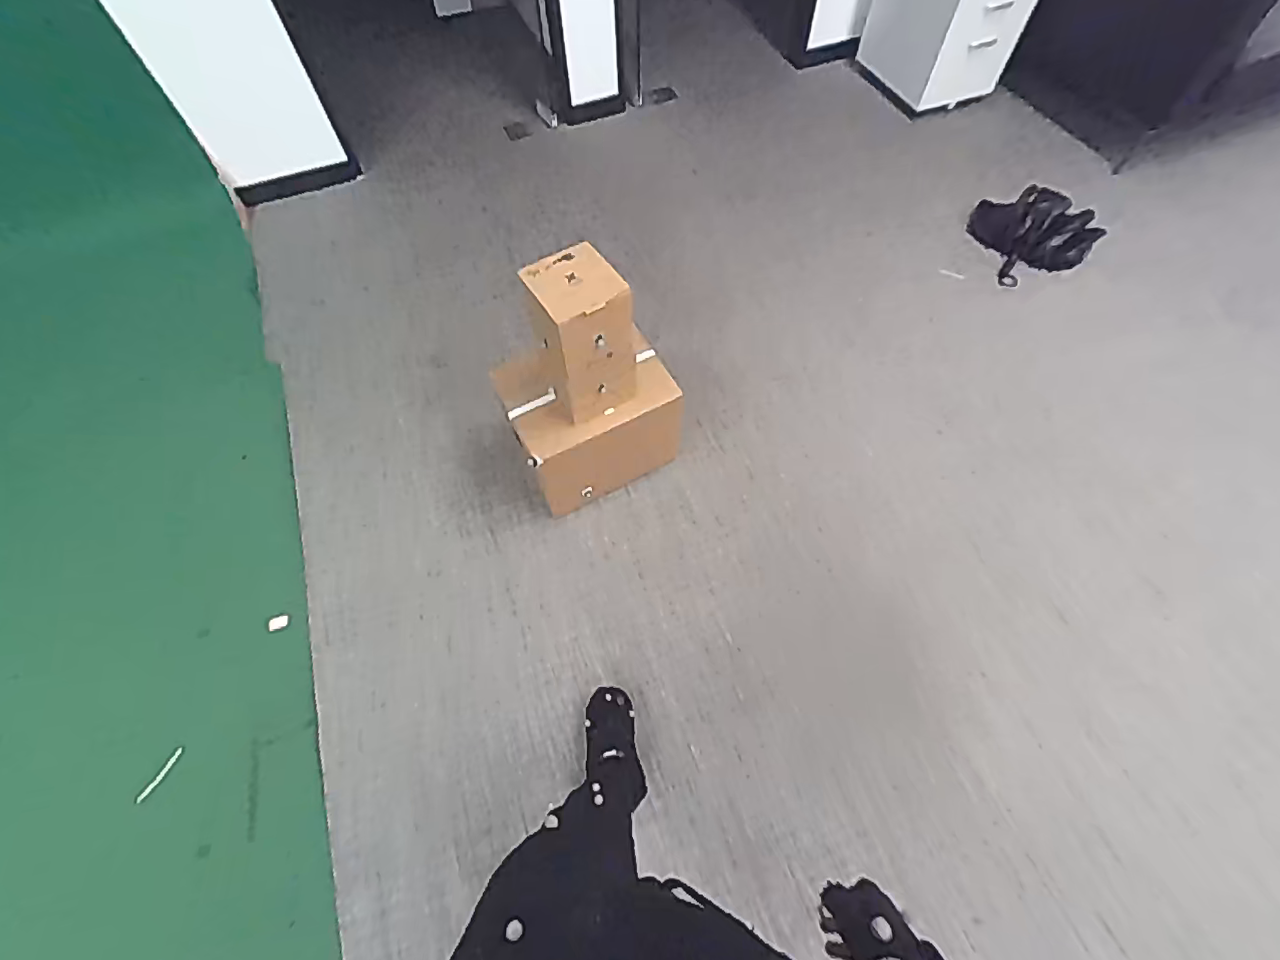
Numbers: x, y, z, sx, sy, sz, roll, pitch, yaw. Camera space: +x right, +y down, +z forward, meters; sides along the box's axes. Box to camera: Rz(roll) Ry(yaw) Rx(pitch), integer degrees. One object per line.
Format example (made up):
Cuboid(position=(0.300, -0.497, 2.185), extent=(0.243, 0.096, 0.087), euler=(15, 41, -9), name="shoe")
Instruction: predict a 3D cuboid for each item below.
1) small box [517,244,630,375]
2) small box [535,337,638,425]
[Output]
Cuboid(position=(-0.130, -0.343, 1.121), extent=(0.168, 0.176, 0.179), euler=(-29, 65, -14), name="small box")
Cuboid(position=(-0.121, -0.262, 1.263), extent=(0.179, 0.176, 0.168), euler=(-31, 65, -16), name="small box")
